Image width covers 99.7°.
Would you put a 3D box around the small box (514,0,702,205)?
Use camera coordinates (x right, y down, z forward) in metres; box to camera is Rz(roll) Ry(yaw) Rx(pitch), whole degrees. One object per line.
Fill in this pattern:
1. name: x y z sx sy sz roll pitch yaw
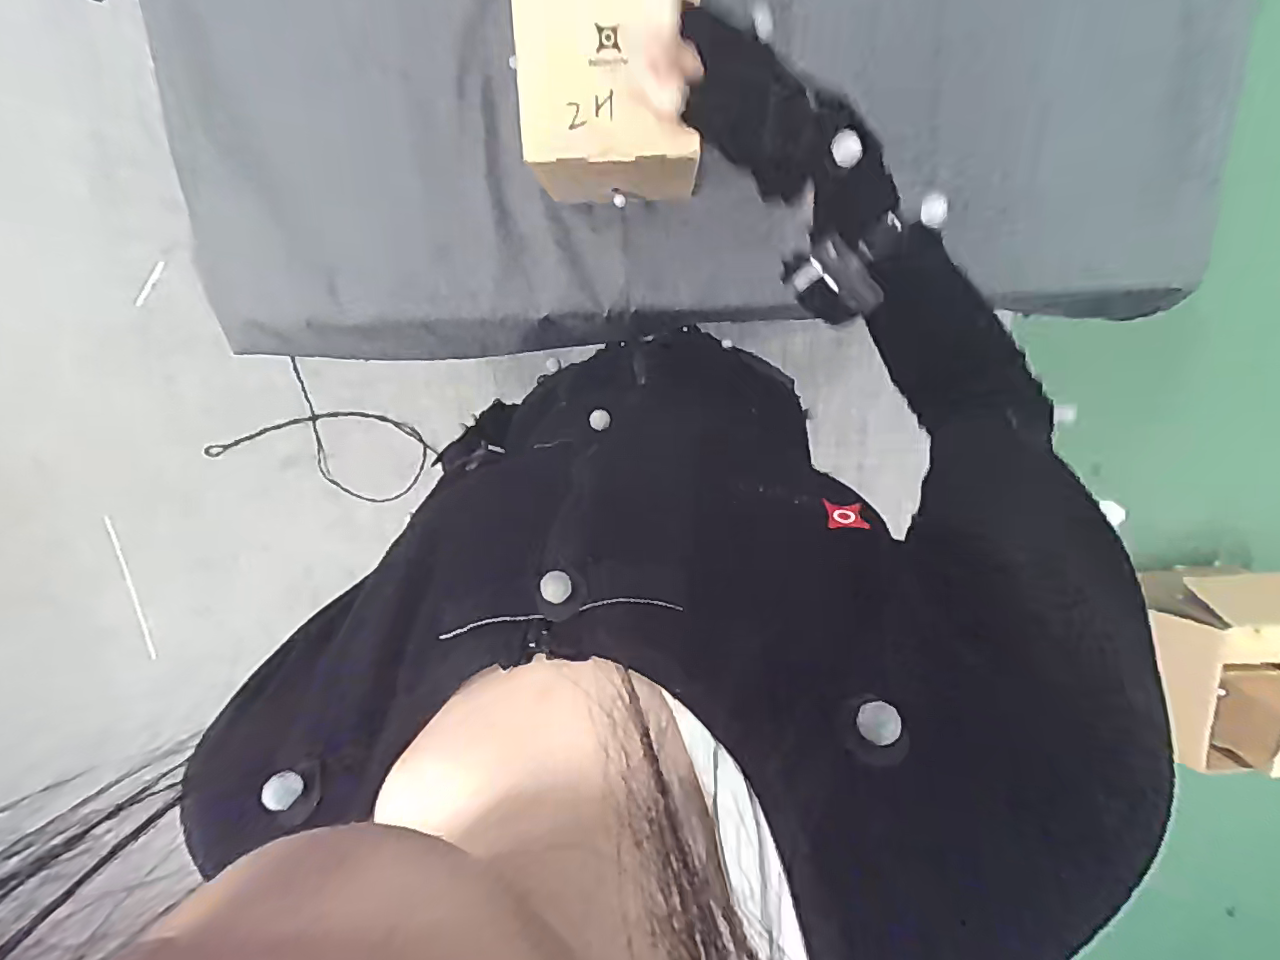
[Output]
1. small box: -0.026 -0.398 0.555 0.168 0.176 0.179 -1 106 3
